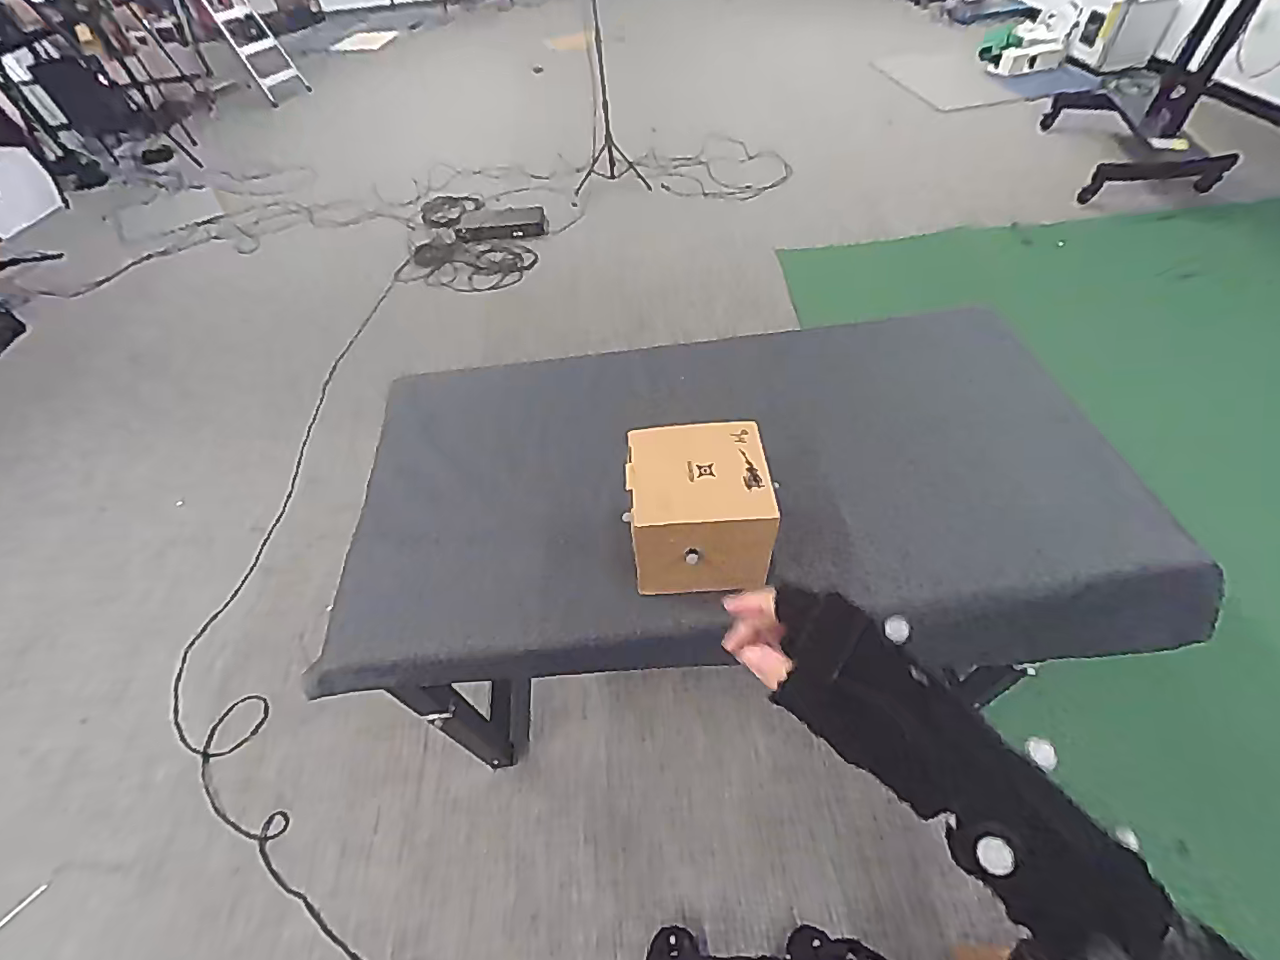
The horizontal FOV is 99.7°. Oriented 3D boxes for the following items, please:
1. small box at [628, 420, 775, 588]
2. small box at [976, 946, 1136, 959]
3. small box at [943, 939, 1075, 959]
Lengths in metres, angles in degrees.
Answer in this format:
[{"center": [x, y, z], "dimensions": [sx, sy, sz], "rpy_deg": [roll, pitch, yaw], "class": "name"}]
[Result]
[{"center": [0.079, 0.038, 0.747], "dimensions": [0.179, 0.176, 0.168], "rpy_deg": [-3, 50, 2], "class": "small box"}, {"center": [0.646, 0.810, 0.808], "dimensions": [0.179, 0.176, 0.168], "rpy_deg": [-5, 50, 2], "class": "small box"}, {"center": [0.668, 0.912, 0.936], "dimensions": [0.179, 0.176, 0.168], "rpy_deg": [-7, 50, 1], "class": "small box"}]
